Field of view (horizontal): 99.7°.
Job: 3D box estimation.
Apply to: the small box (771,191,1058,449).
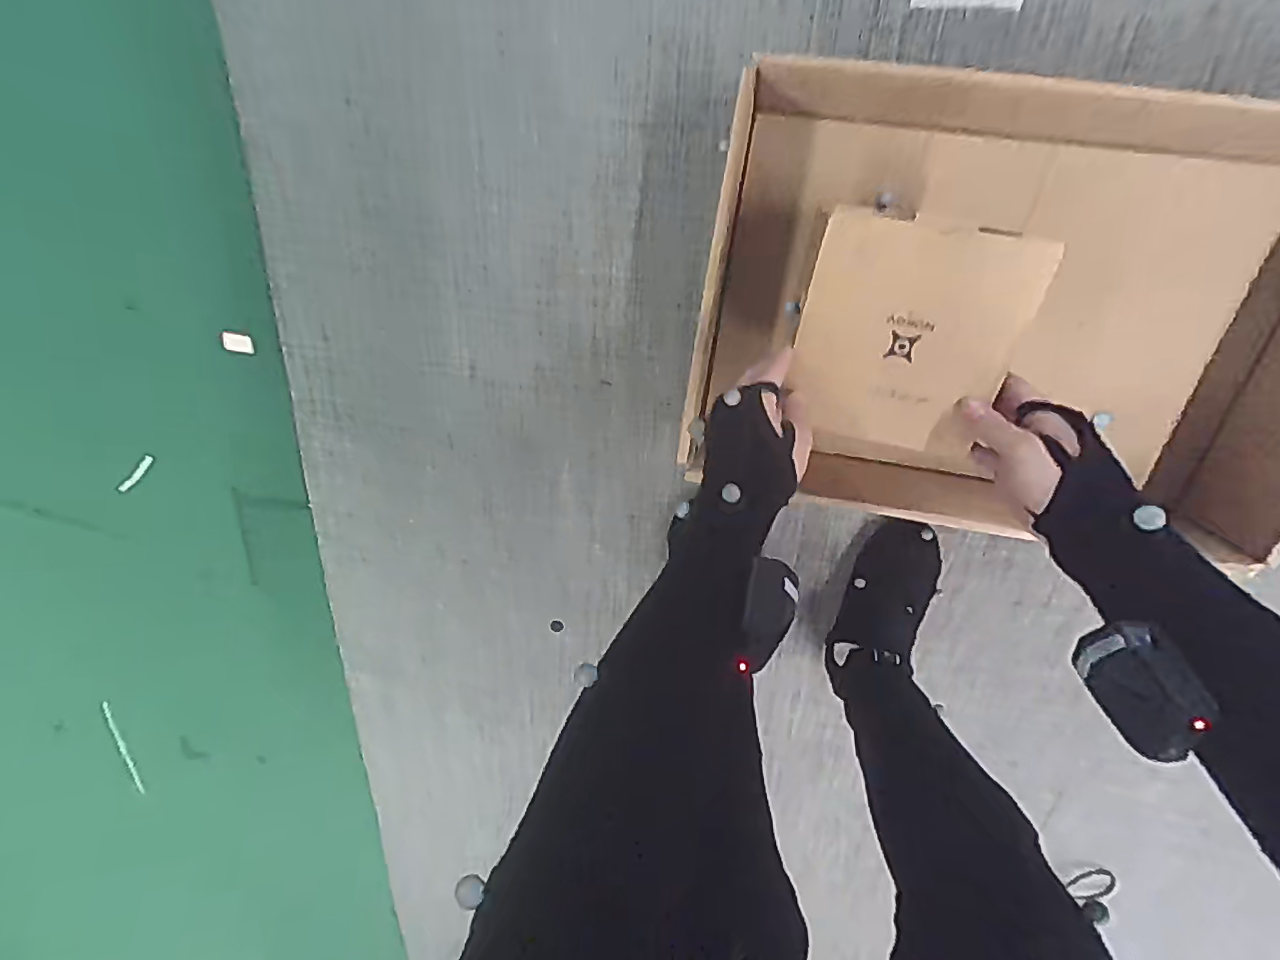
[{"bbox_3d":[0.222,-0.155,0.498,0.168,0.176,0.179,13,119,8],"label":"small box"}]
